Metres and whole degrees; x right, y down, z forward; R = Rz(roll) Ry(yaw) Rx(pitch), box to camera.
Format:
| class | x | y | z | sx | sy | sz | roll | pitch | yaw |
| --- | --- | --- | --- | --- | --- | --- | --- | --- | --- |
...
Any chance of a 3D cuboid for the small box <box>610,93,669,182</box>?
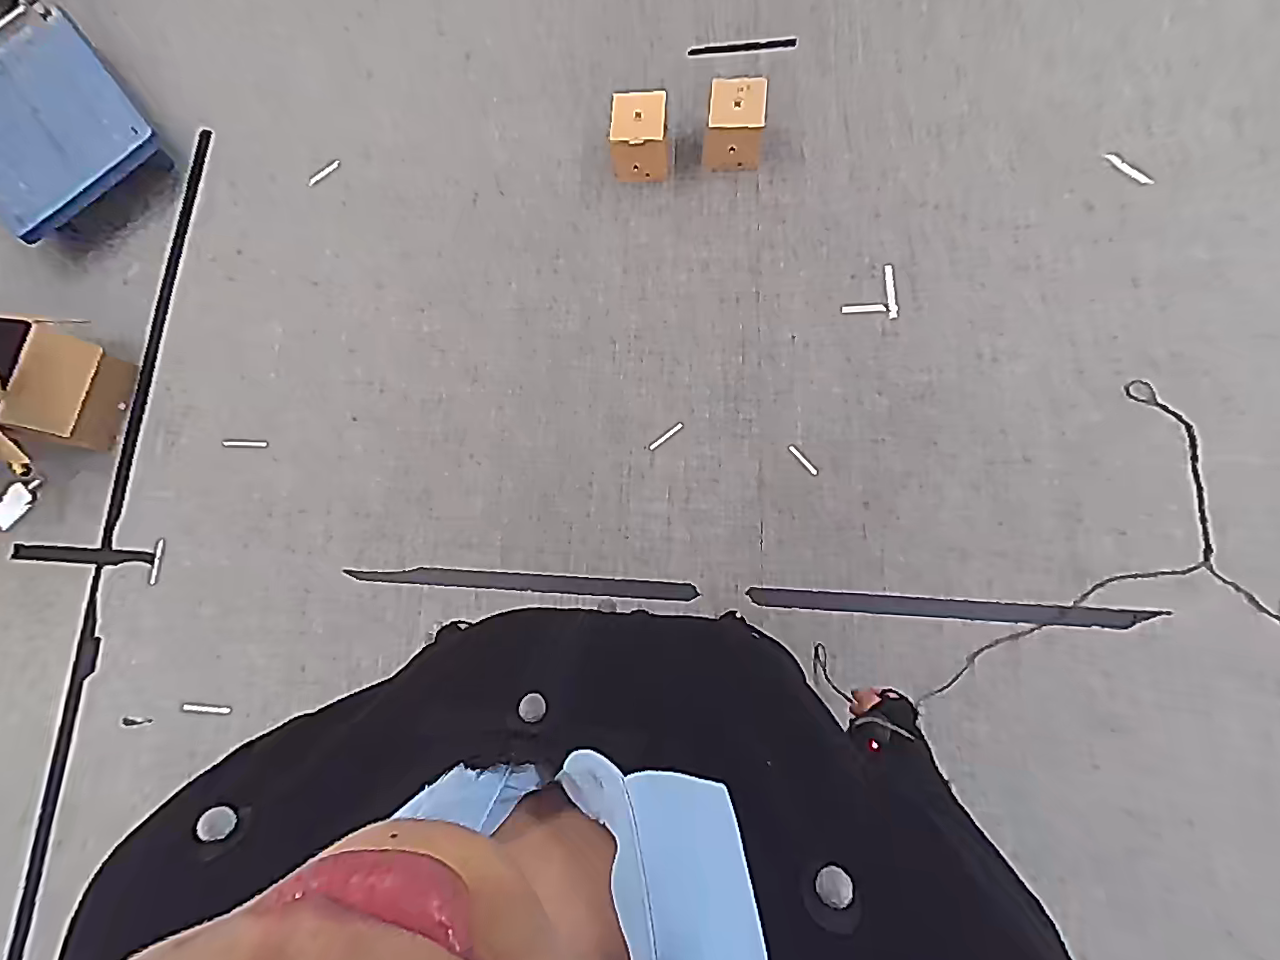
| class | x | y | z | sx | sy | sz | roll | pitch | yaw |
| --- | --- | --- | --- | --- | --- | --- | --- | --- | --- |
| small box | 0.003 | -1.086 | 1.723 | 0.168 | 0.176 | 0.179 | 2 | 79 | 7 |

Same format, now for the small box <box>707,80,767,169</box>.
| class | x | y | z | sx | sy | sz | roll | pitch | yaw |
| --- | --- | --- | --- | --- | --- | --- | --- | --- | --- |
| small box | 0.299 | -1.105 | 1.690 | 0.168 | 0.176 | 0.179 | 5 | 78 | 7 |
